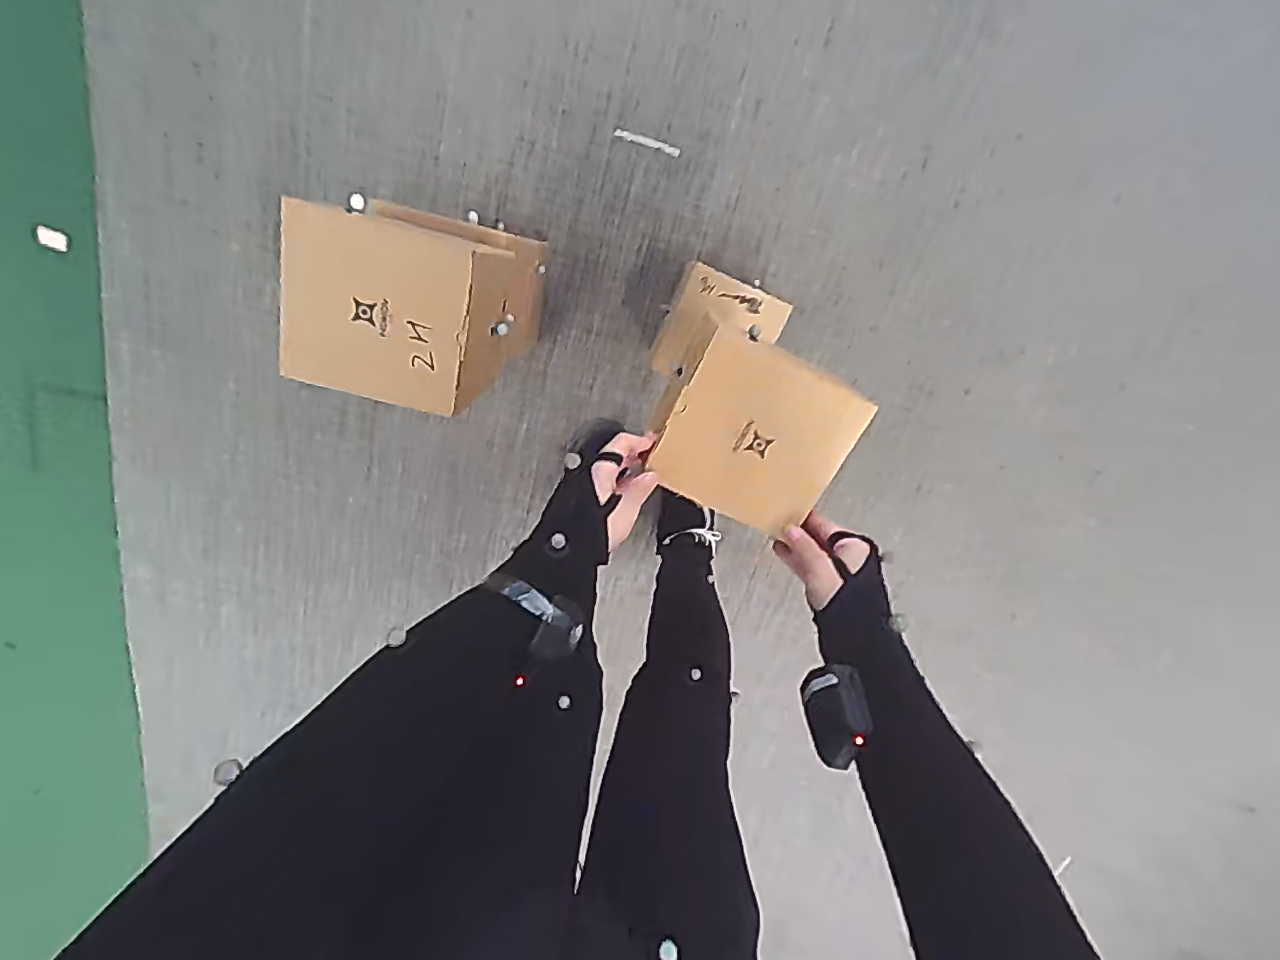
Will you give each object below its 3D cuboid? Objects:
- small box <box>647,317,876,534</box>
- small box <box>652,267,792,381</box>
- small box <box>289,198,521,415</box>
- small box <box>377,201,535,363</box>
[{"bbox_3d":[0.122,-0.073,0.614,0.179,0.176,0.168,24,110,-6],"label":"small box"},{"bbox_3d":[0.130,-0.246,0.923,0.168,0.176,0.179,22,111,-9],"label":"small box"},{"bbox_3d":[-0.245,-0.187,0.594,0.179,0.176,0.168,14,110,-6],"label":"small box"},{"bbox_3d":[-0.248,-0.259,0.743,0.168,0.176,0.179,13,109,-5],"label":"small box"}]
